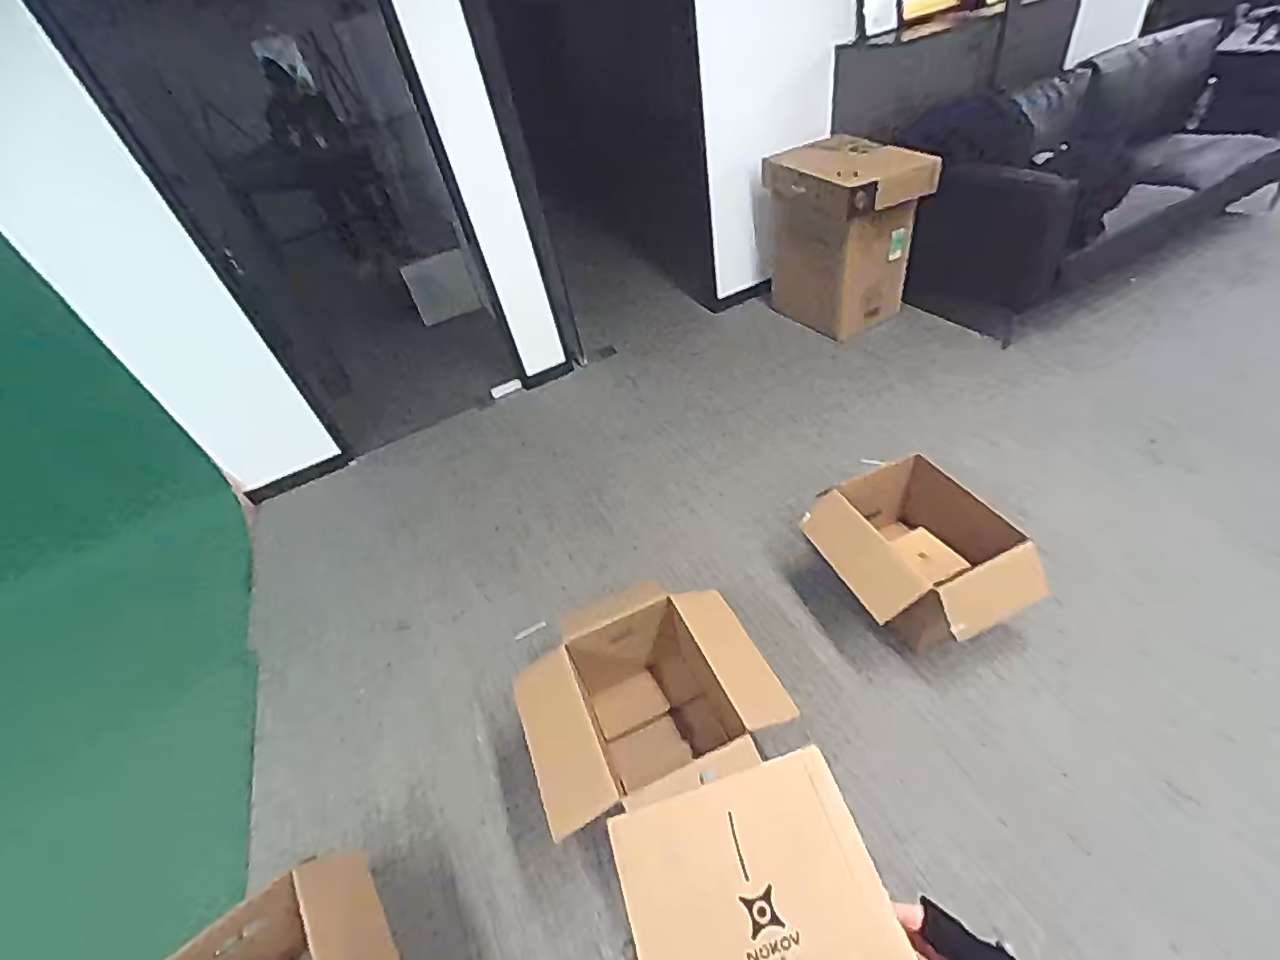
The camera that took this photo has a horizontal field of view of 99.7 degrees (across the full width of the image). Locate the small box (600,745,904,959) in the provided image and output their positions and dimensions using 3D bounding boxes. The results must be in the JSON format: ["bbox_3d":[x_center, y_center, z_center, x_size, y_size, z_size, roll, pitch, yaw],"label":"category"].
[{"bbox_3d":[0.078,0.330,0.412,0.168,0.176,0.179,-16,55,-8],"label":"small box"}]
